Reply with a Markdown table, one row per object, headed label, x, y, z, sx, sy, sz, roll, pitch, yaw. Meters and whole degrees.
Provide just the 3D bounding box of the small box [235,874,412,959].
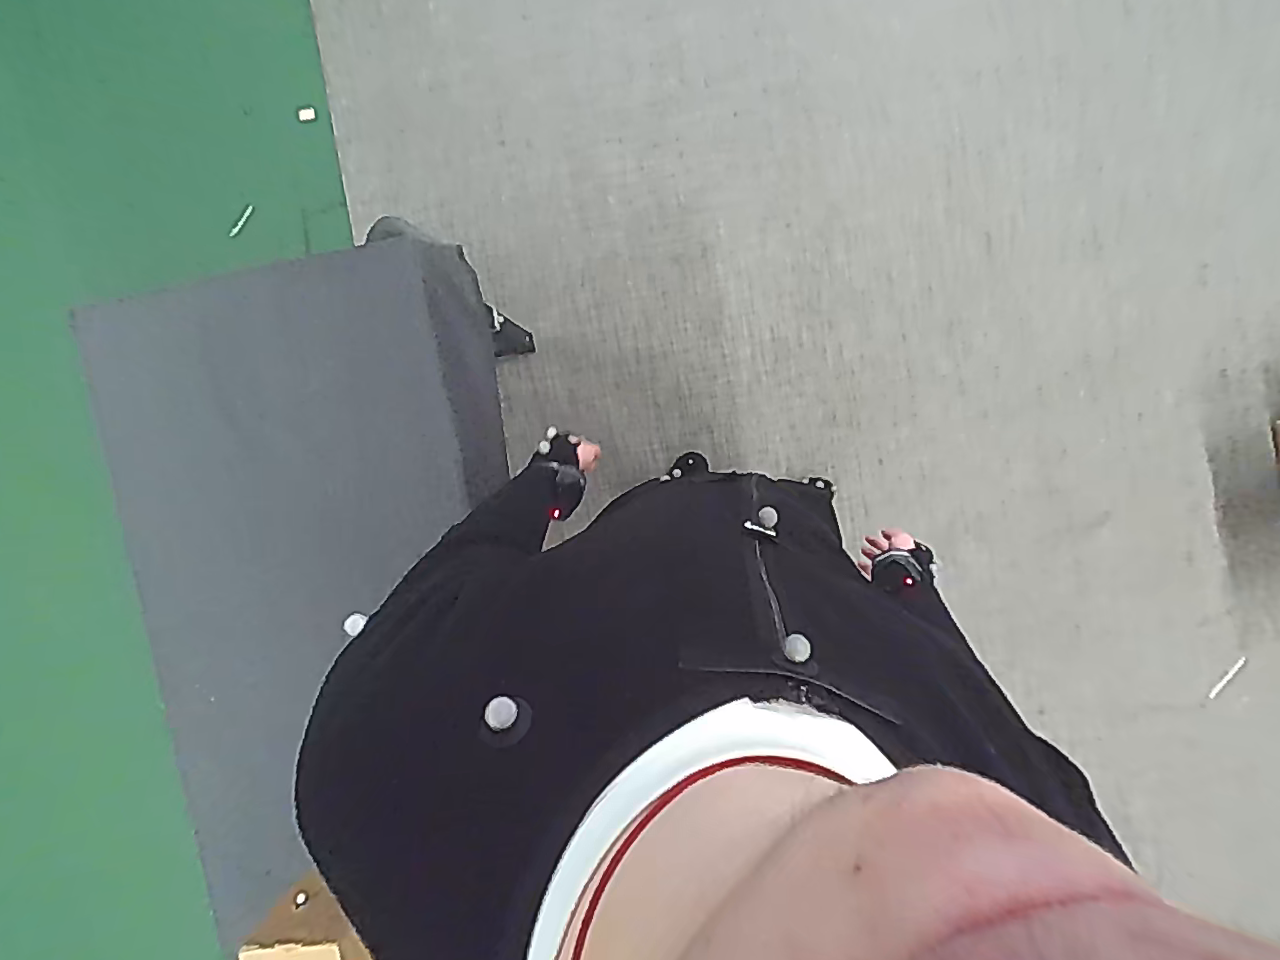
| label | x | y | z | sx | sy | sz | roll | pitch | yaw |
| --- | --- | --- | --- | --- | --- | --- | --- | --- | --- |
| small box | -0.483 | 0.756 | 0.845 | 0.168 | 0.176 | 0.179 | -6 | 93 | 8 |
